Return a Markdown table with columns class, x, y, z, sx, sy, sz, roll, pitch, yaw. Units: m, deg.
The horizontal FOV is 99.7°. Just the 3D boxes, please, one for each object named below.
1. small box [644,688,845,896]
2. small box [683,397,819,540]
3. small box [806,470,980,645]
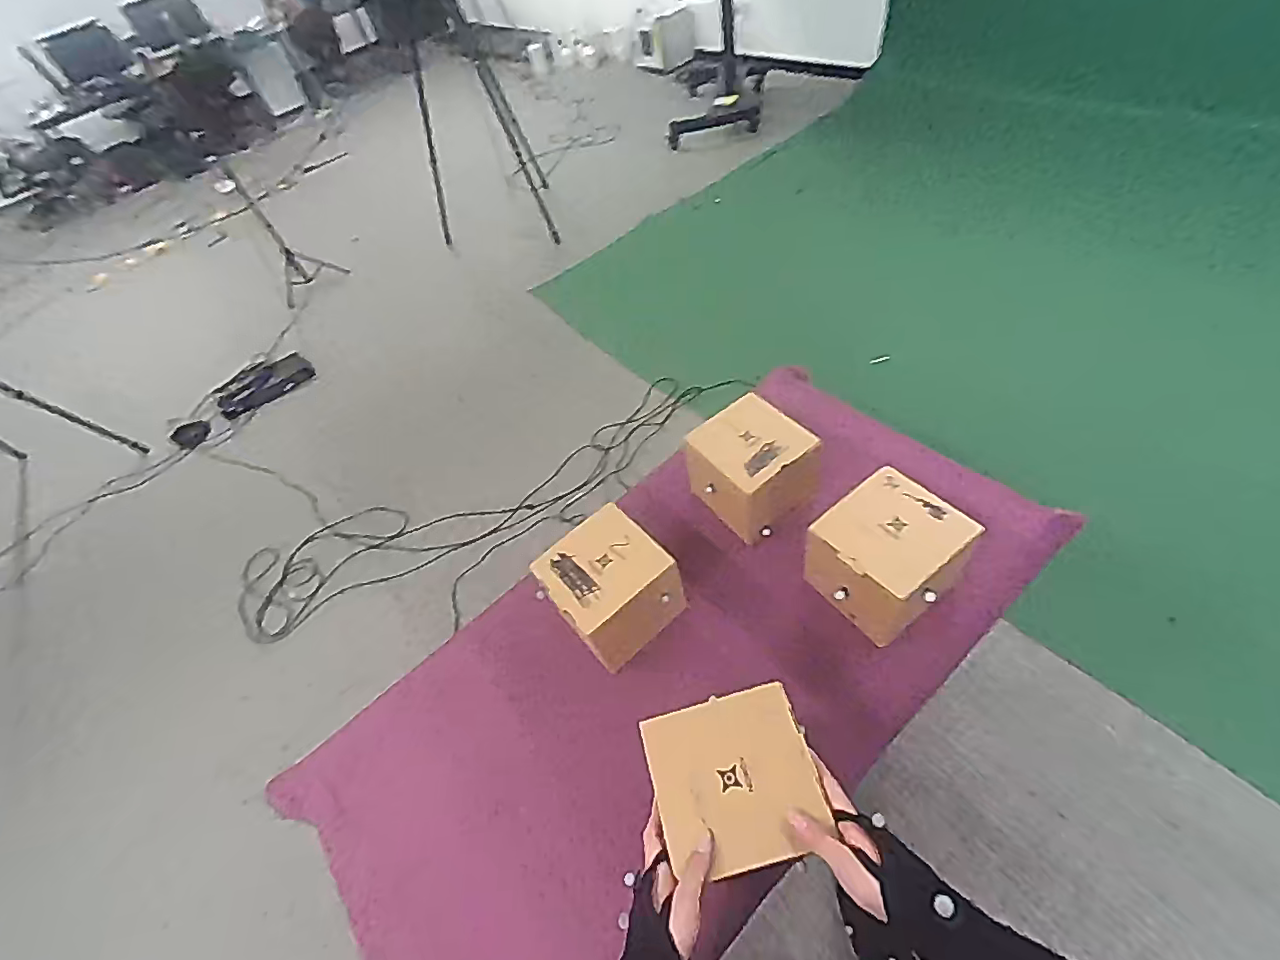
| class | x | y | z | sx | sy | sz | roll | pitch | yaw |
| --- | --- | --- | --- | --- | --- | --- | --- | --- | --- |
| small box | 0.116 | 0.368 | 0.639 | 0.179 | 0.176 | 0.168 | -16 | 52 | 1 |
| small box | 0.203 | -0.014 | 0.995 | 0.168 | 0.176 | 0.179 | -33 | 52 | -14 |
| small box | 0.381 | 0.125 | 0.842 | 0.179 | 0.176 | 0.168 | -35 | 52 | -13 |
